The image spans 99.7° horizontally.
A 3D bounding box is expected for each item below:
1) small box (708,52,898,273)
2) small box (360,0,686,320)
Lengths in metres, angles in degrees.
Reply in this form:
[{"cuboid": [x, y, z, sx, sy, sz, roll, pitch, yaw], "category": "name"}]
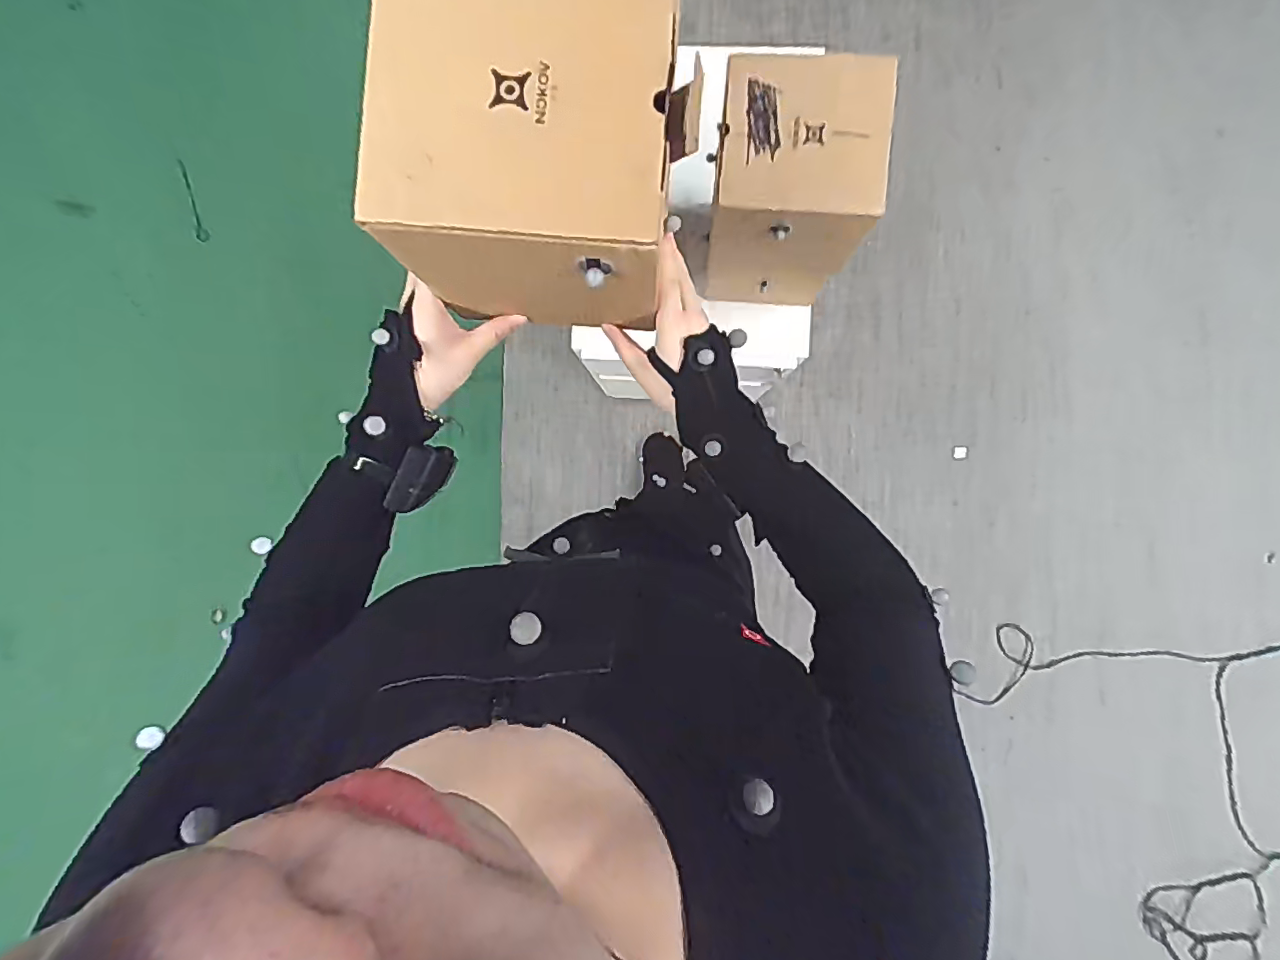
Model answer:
[{"cuboid": [0.177, -0.359, 0.642, 0.179, 0.176, 0.168, 5, 91, 3], "category": "small box"}, {"cuboid": [-0.065, -0.224, 0.386, 0.179, 0.176, 0.168, 4, 89, 0], "category": "small box"}]
